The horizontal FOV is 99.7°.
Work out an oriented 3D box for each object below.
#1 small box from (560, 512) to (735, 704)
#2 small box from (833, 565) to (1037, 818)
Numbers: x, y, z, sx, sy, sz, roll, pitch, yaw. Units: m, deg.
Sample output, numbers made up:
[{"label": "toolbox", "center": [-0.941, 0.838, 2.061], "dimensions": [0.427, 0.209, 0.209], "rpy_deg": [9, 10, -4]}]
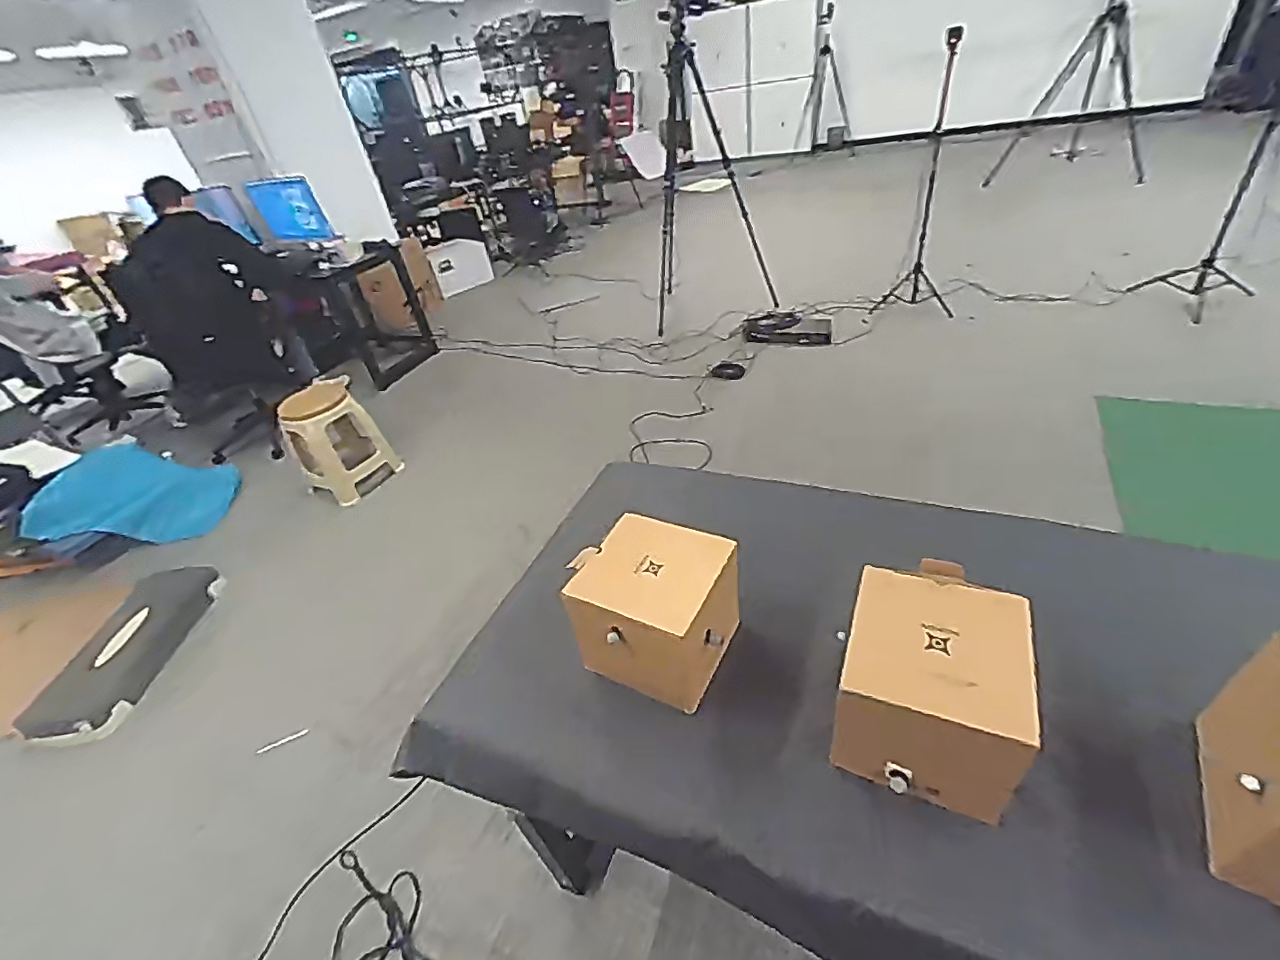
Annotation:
[{"label": "small box", "center": [0.022, 0.174, 0.739], "dimensions": [0.179, 0.176, 0.168], "rpy_deg": [13, 42, 27]}, {"label": "small box", "center": [0.315, 0.228, 0.602], "dimensions": [0.168, 0.176, 0.179], "rpy_deg": [9, 41, 25]}]
